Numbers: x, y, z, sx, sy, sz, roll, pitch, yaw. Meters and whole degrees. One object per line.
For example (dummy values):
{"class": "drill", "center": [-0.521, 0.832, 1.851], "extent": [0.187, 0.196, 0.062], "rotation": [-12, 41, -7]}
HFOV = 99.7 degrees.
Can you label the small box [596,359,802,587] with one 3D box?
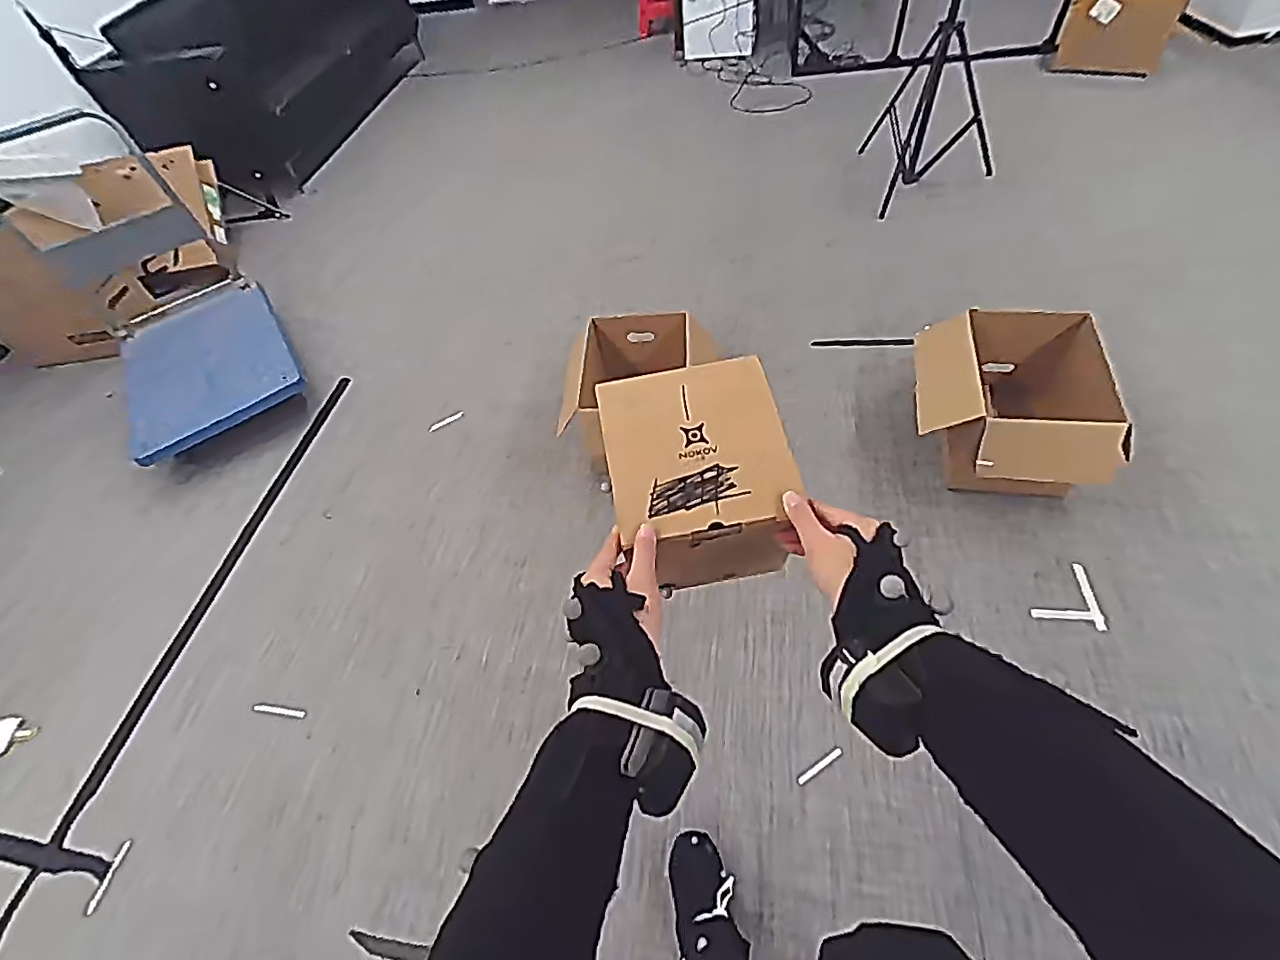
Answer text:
{"class": "small box", "center": [0.055, 0.005, 0.573], "extent": [0.168, 0.176, 0.179], "rotation": [-10, 62, -1]}
